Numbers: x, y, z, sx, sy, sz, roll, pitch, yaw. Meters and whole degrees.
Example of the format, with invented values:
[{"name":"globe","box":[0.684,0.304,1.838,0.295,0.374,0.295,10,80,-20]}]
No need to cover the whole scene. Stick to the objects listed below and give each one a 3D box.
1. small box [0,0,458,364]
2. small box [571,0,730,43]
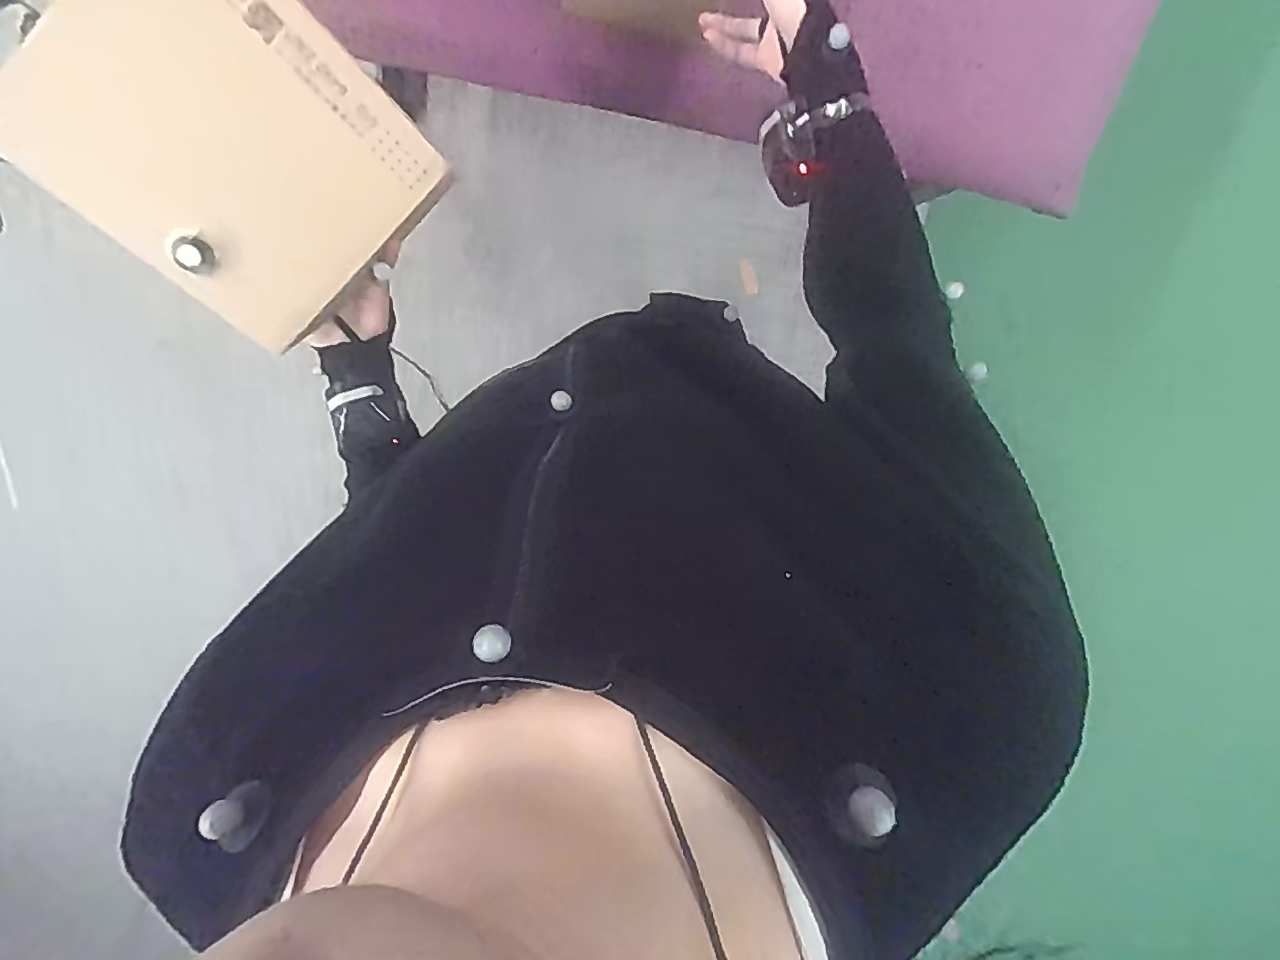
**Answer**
[{"name":"small box","box":[-0.243,-0.214,0.368,0.176,0.179,0.168,-43,120,8]},{"name":"small box","box":[0.017,-0.554,0.504,0.179,0.176,0.168,13,108,-1]}]
